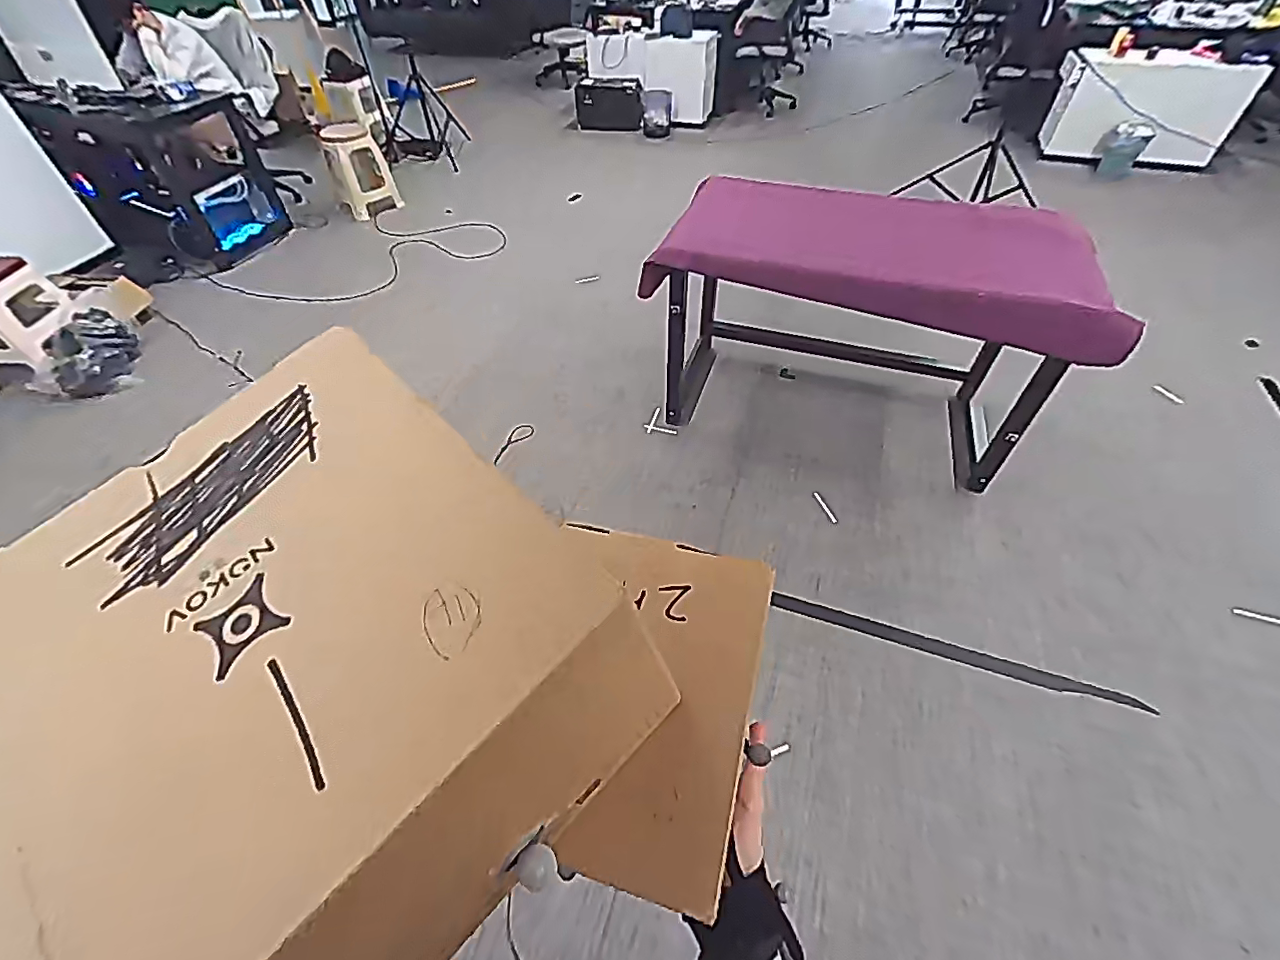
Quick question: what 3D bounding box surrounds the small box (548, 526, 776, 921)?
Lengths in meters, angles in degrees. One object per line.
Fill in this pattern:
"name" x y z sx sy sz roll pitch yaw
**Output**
"small box" -0.009 0.152 0.367 0.168 0.176 0.179 10 60 14
